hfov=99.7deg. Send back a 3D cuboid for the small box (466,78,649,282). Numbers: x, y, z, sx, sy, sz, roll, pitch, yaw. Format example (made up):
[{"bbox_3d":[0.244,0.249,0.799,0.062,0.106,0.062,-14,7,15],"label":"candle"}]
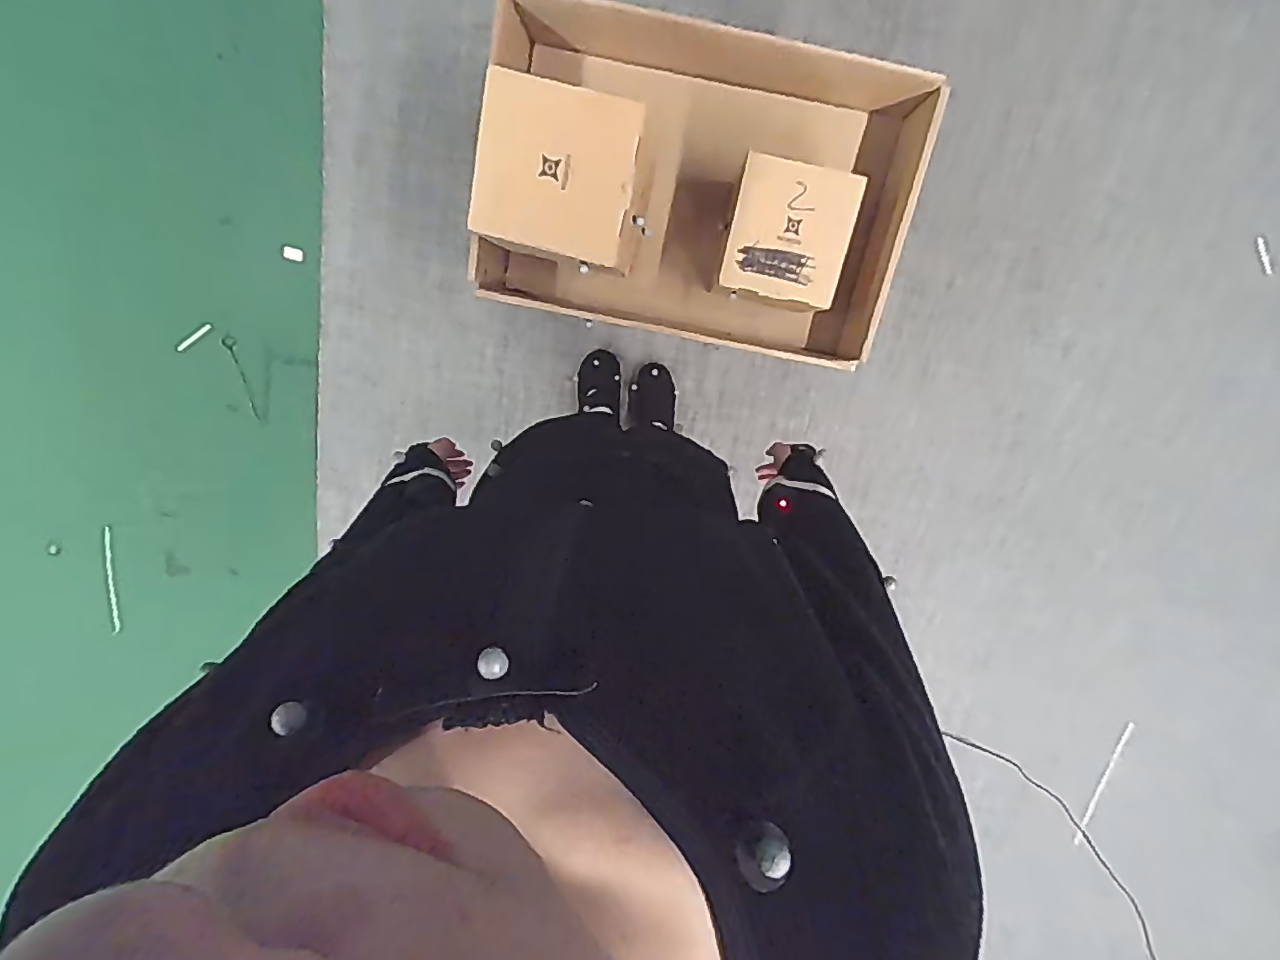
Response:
[{"bbox_3d":[-0.093,-0.353,0.673,0.179,0.176,0.168,14,106,-2],"label":"small box"}]

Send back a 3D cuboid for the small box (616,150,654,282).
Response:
[{"bbox_3d":[-0.081,-0.409,0.826,0.179,0.176,0.168,13,106,-2],"label":"small box"}]
